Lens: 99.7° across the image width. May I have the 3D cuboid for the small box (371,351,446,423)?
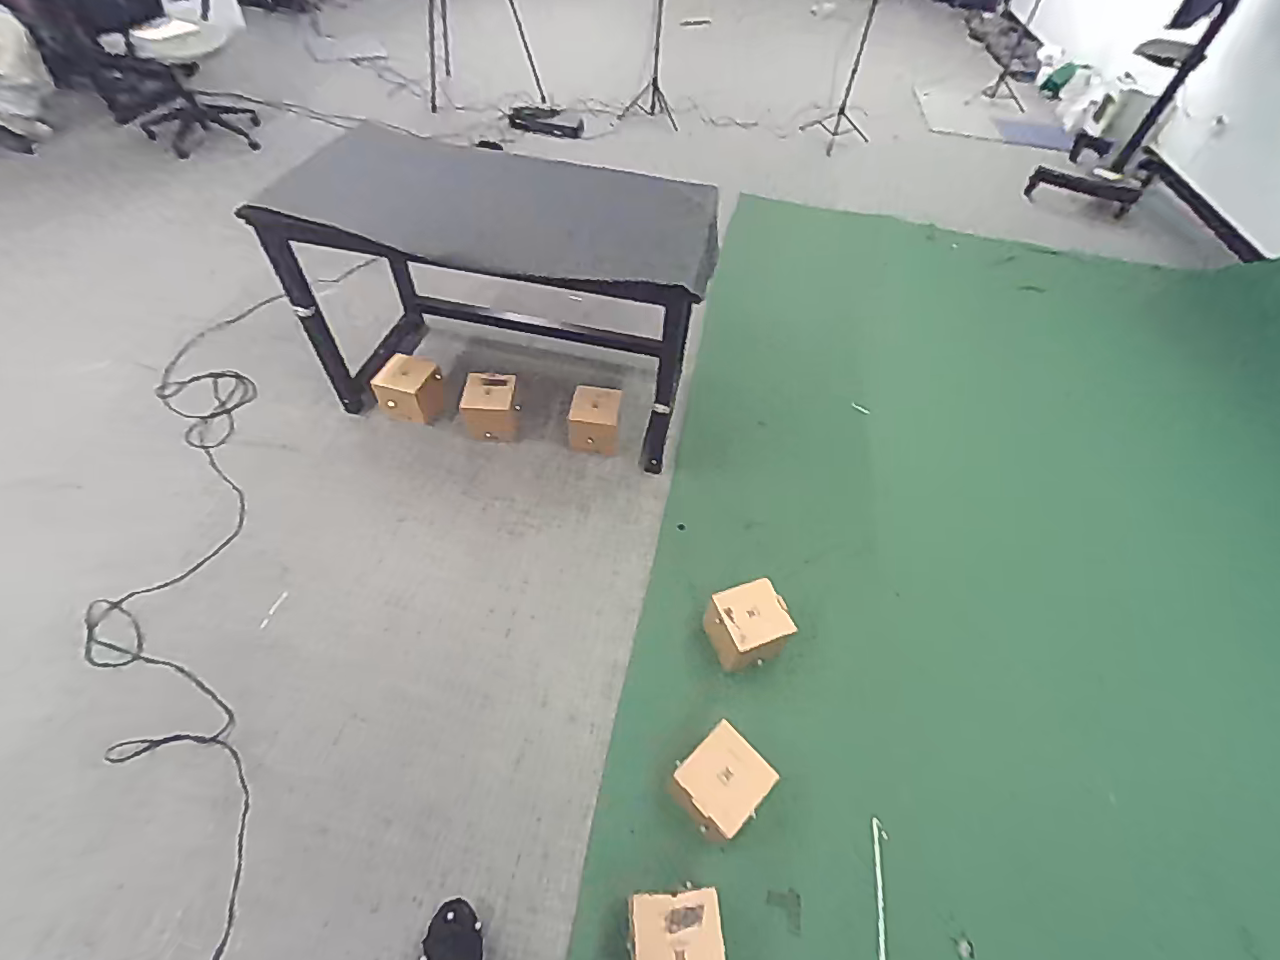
[{"bbox_3d":[-0.825,-0.331,1.951,0.168,0.176,0.179,15,52,7],"label":"small box"}]

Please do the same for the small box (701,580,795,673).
[{"bbox_3d":[0.287,0.401,1.475,0.179,0.176,0.168,-13,54,-16],"label":"small box"}]

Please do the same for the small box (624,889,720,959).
[{"bbox_3d":[0.058,0.911,1.049,0.168,0.176,0.179,-1,53,-6],"label":"small box"}]

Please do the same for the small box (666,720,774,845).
[{"bbox_3d":[0.173,0.693,1.232,0.179,0.176,0.168,-35,63,-29],"label":"small box"}]

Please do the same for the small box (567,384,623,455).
[{"bbox_3d":[-0.156,-0.211,1.913,0.168,0.176,0.179,8,52,1],"label":"small box"}]
